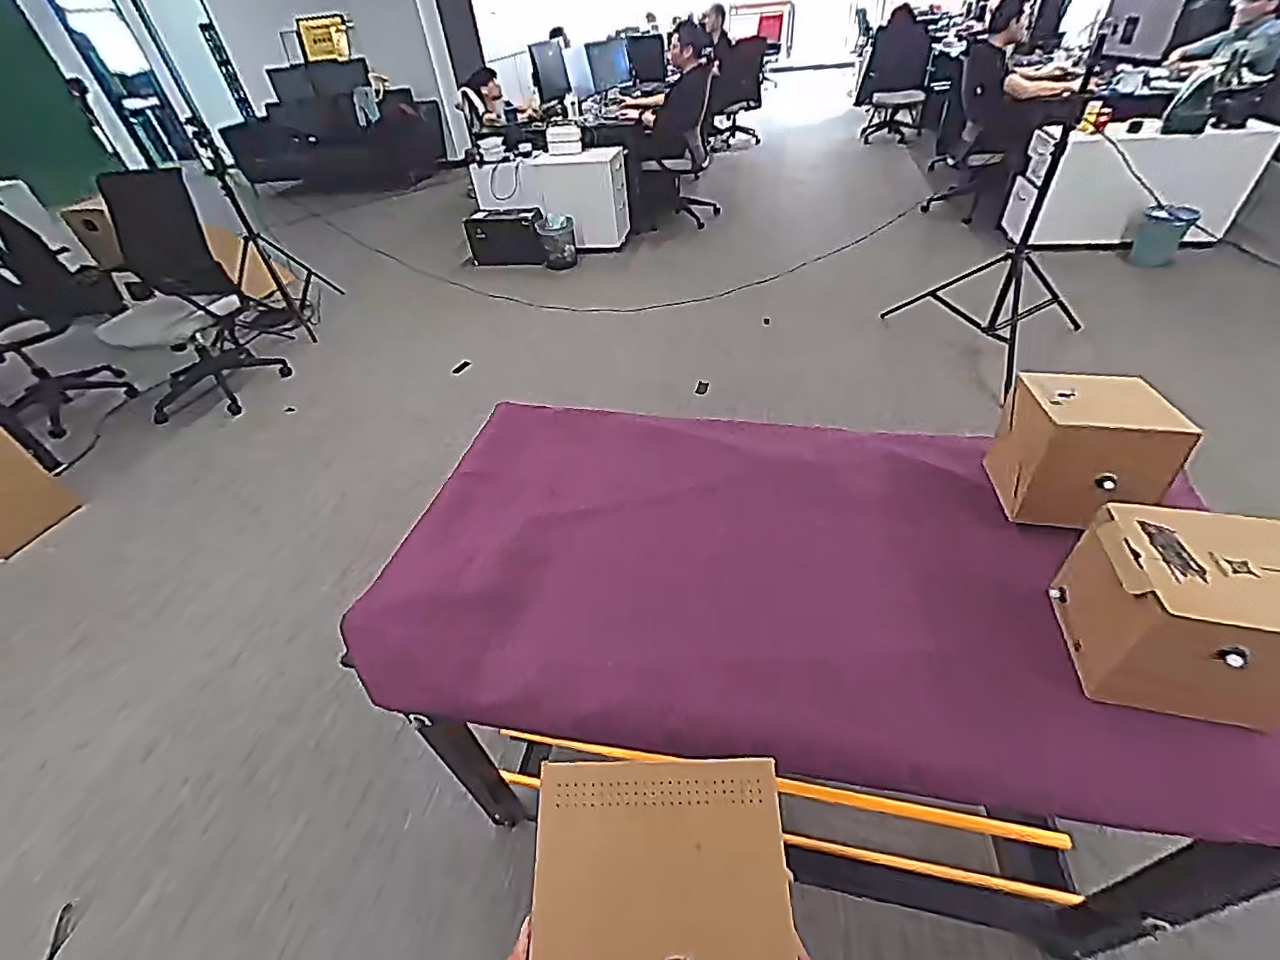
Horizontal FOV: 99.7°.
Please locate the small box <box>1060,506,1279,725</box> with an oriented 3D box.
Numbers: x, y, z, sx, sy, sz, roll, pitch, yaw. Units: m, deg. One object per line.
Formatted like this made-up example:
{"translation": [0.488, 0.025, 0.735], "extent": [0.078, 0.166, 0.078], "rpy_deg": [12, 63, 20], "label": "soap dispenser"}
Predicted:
{"translation": [0.619, 0.152, 0.614], "extent": [0.179, 0.176, 0.168], "rpy_deg": [6, 42, 14], "label": "small box"}
